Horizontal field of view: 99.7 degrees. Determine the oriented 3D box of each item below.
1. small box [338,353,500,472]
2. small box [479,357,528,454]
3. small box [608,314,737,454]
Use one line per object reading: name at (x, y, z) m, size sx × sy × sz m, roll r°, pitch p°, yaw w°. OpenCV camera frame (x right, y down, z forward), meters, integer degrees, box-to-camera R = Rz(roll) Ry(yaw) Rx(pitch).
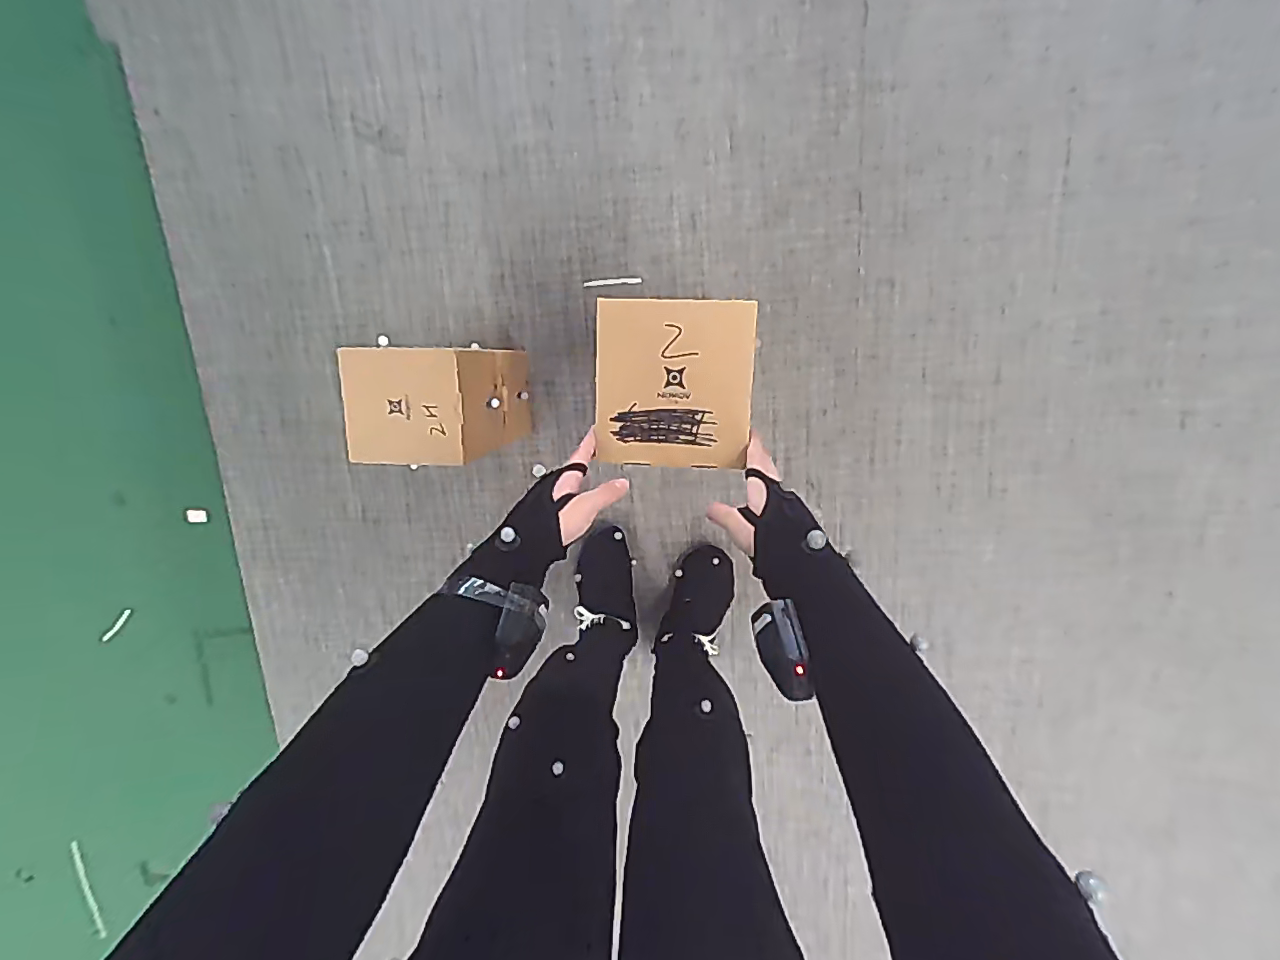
small box at (-0.331, -0.109, 0.841) m, size 0.179 × 0.176 × 0.168 m, roll 1°, pitch 102°, yaw 3°
small box at (-0.310, -0.143, 1.002) m, size 0.179 × 0.176 × 0.168 m, roll 0°, pitch 102°, yaw 4°
small box at (0.052, -0.143, 0.806) m, size 0.168 × 0.176 × 0.179 m, roll -5°, pitch 101°, yaw 6°
